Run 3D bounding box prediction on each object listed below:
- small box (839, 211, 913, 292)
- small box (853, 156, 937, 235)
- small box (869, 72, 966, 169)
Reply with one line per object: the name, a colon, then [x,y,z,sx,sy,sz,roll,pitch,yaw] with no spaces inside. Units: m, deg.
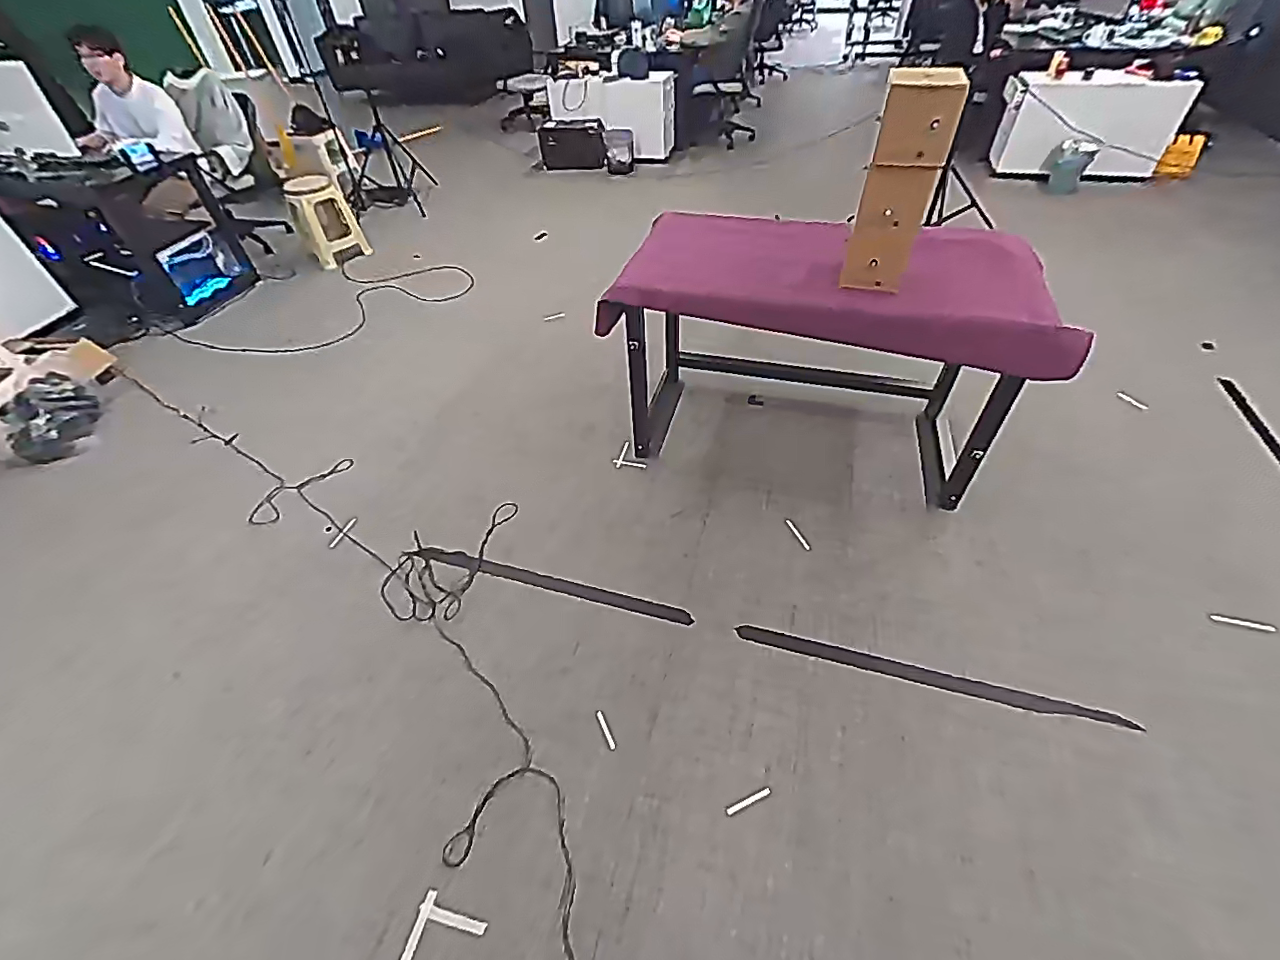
small box: [0.682,-0.663,1.566,0.168,0.176,0.179,13,48,15]
small box: [0.678,-0.779,1.450,0.168,0.176,0.179,12,48,15]
small box: [0.667,-0.877,1.319,0.168,0.176,0.179,10,47,12]
